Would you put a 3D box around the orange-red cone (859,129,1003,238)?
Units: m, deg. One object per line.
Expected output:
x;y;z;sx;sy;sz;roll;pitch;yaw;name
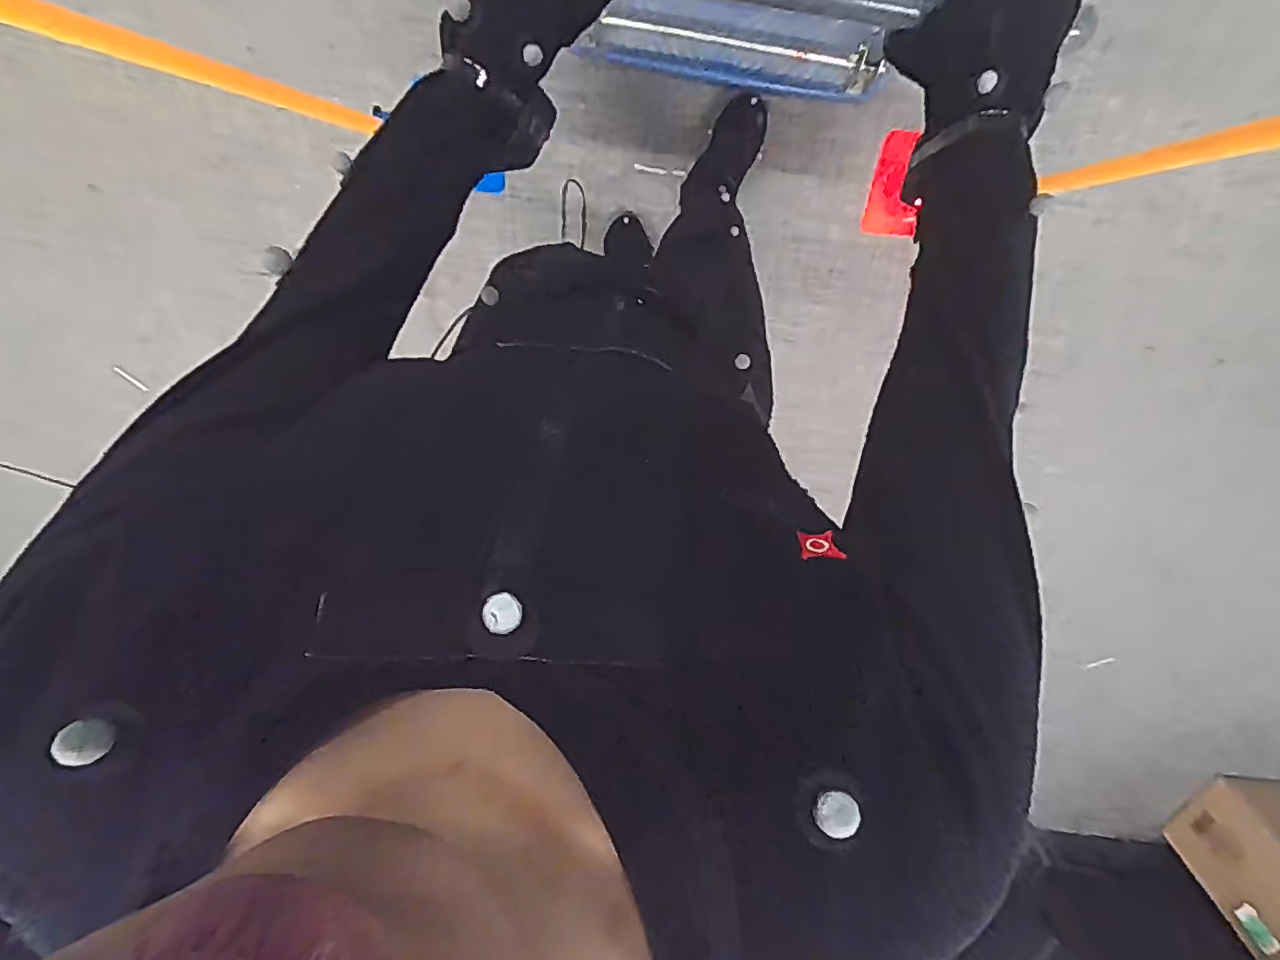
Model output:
0.591;-0.565;1.045;0.199;0.360;0.198;8;120;1;orange-red cone
